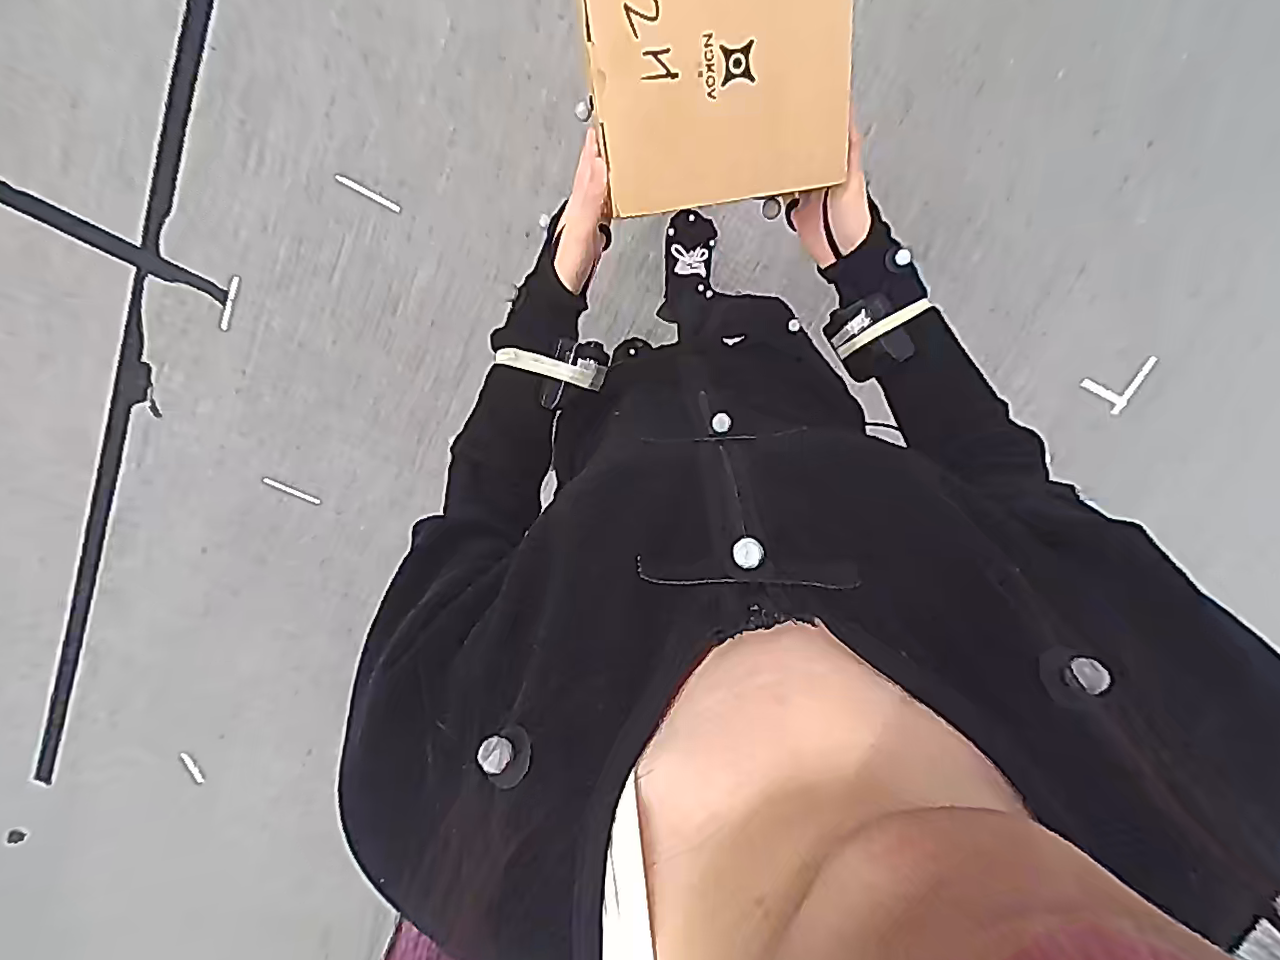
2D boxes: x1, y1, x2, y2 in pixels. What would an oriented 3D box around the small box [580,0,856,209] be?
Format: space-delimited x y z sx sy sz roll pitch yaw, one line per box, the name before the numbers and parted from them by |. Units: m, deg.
small box | 0.050 -0.318 0.428 0.179 0.176 0.168 -9 117 -1
